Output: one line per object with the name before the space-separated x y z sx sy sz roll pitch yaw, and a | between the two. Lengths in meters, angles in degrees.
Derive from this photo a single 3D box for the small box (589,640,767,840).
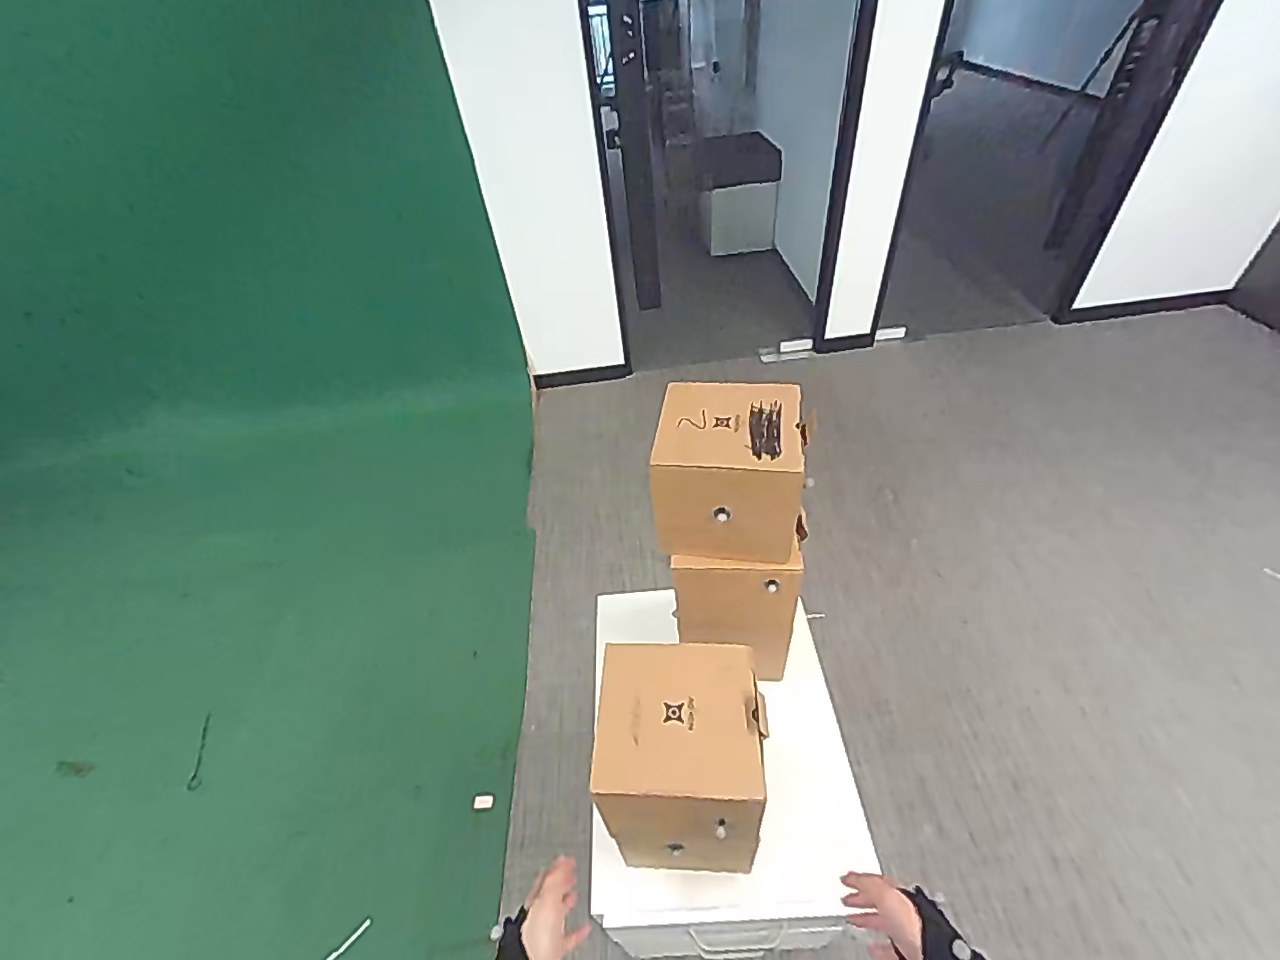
small box | 0.048 0.306 0.638 0.179 0.176 0.168 -2 43 6

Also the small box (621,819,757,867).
small box | 0.064 0.420 0.753 0.179 0.176 0.168 0 44 6

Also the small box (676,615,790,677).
small box | 0.159 0.227 0.938 0.179 0.176 0.168 0 45 8

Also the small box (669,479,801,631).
small box | 0.139 0.115 0.823 0.179 0.176 0.168 0 45 6
